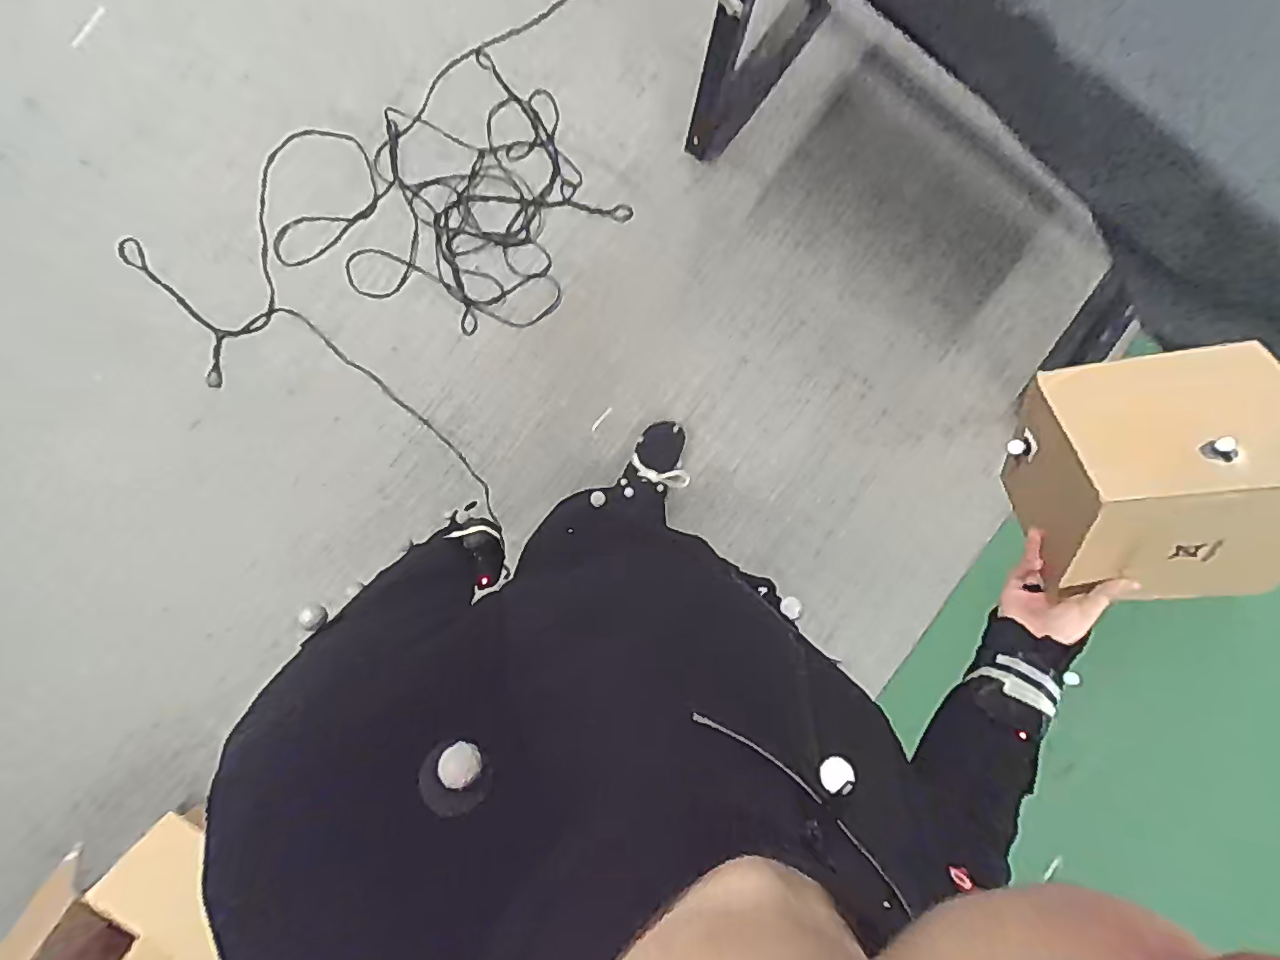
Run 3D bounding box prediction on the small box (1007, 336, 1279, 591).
[{"bbox_3d":[0.485,-0.014,0.510,0.179,0.168,0.176,-7,47,17],"label":"small box"}]
